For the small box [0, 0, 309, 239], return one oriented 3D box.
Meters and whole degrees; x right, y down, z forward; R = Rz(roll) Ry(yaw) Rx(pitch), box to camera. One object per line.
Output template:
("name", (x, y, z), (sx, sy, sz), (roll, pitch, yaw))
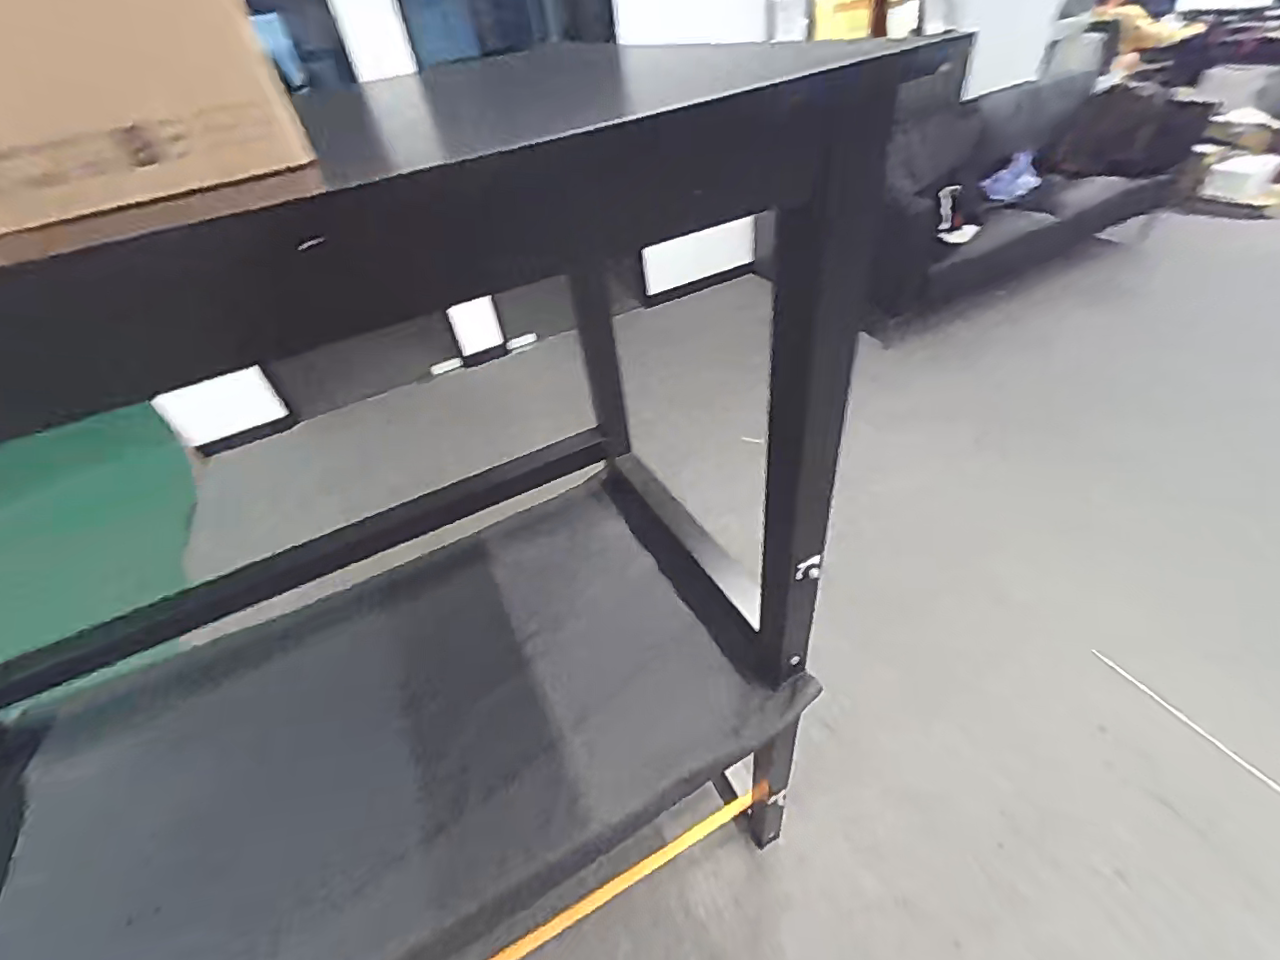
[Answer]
("small box", (-0.280, -0.222, 0.247), (0.168, 0.176, 0.179), (-27, 43, -19))
